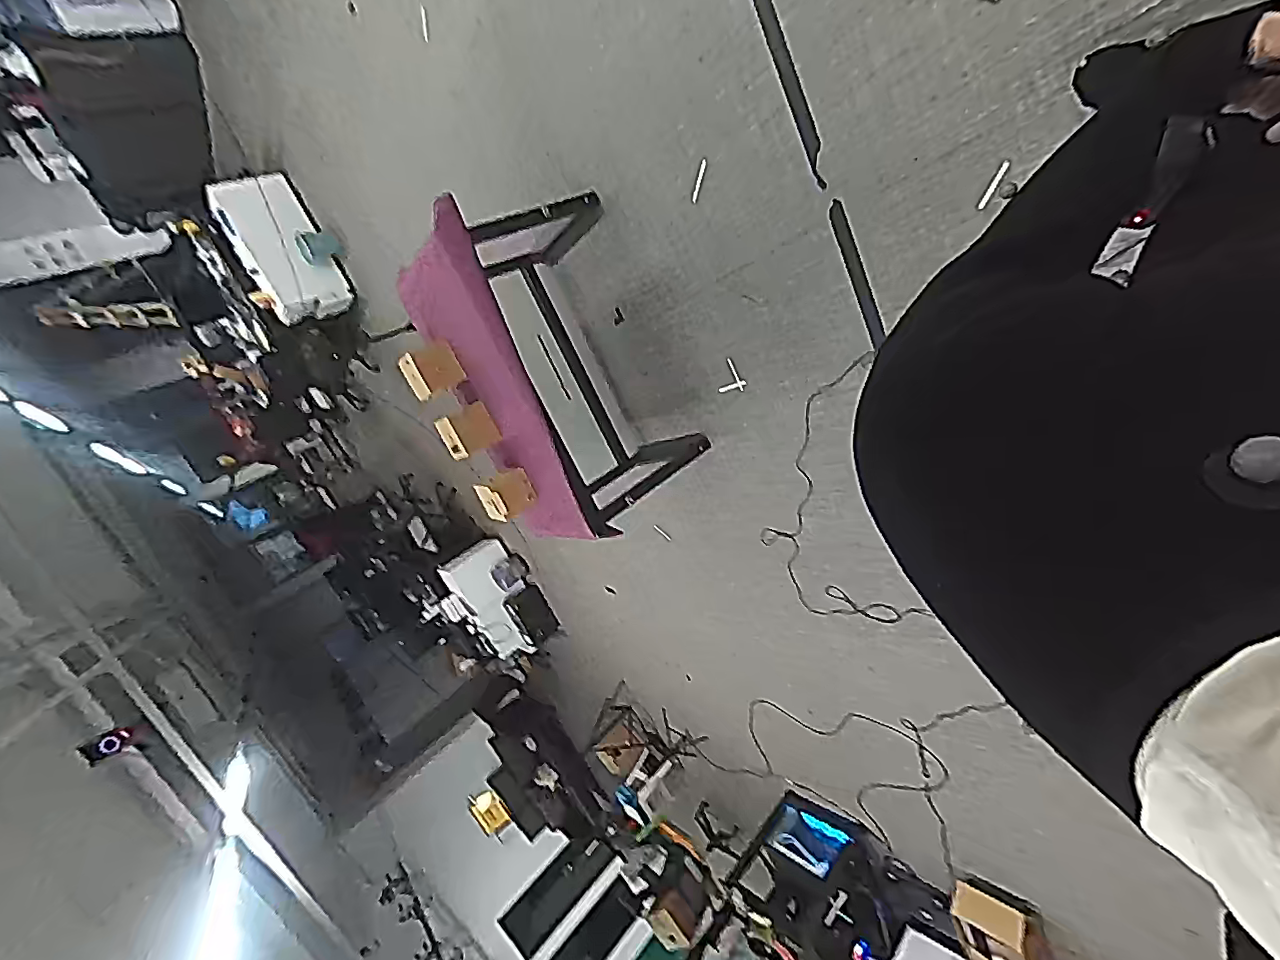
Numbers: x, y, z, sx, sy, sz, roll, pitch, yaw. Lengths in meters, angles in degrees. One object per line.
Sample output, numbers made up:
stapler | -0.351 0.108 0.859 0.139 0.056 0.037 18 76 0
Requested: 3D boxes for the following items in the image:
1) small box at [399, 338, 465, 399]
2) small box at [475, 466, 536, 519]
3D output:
small box | -0.840 -0.452 2.193 0.168 0.176 0.179 -7 114 52
small box | -0.565 0.047 2.297 0.179 0.176 0.168 2 120 52
